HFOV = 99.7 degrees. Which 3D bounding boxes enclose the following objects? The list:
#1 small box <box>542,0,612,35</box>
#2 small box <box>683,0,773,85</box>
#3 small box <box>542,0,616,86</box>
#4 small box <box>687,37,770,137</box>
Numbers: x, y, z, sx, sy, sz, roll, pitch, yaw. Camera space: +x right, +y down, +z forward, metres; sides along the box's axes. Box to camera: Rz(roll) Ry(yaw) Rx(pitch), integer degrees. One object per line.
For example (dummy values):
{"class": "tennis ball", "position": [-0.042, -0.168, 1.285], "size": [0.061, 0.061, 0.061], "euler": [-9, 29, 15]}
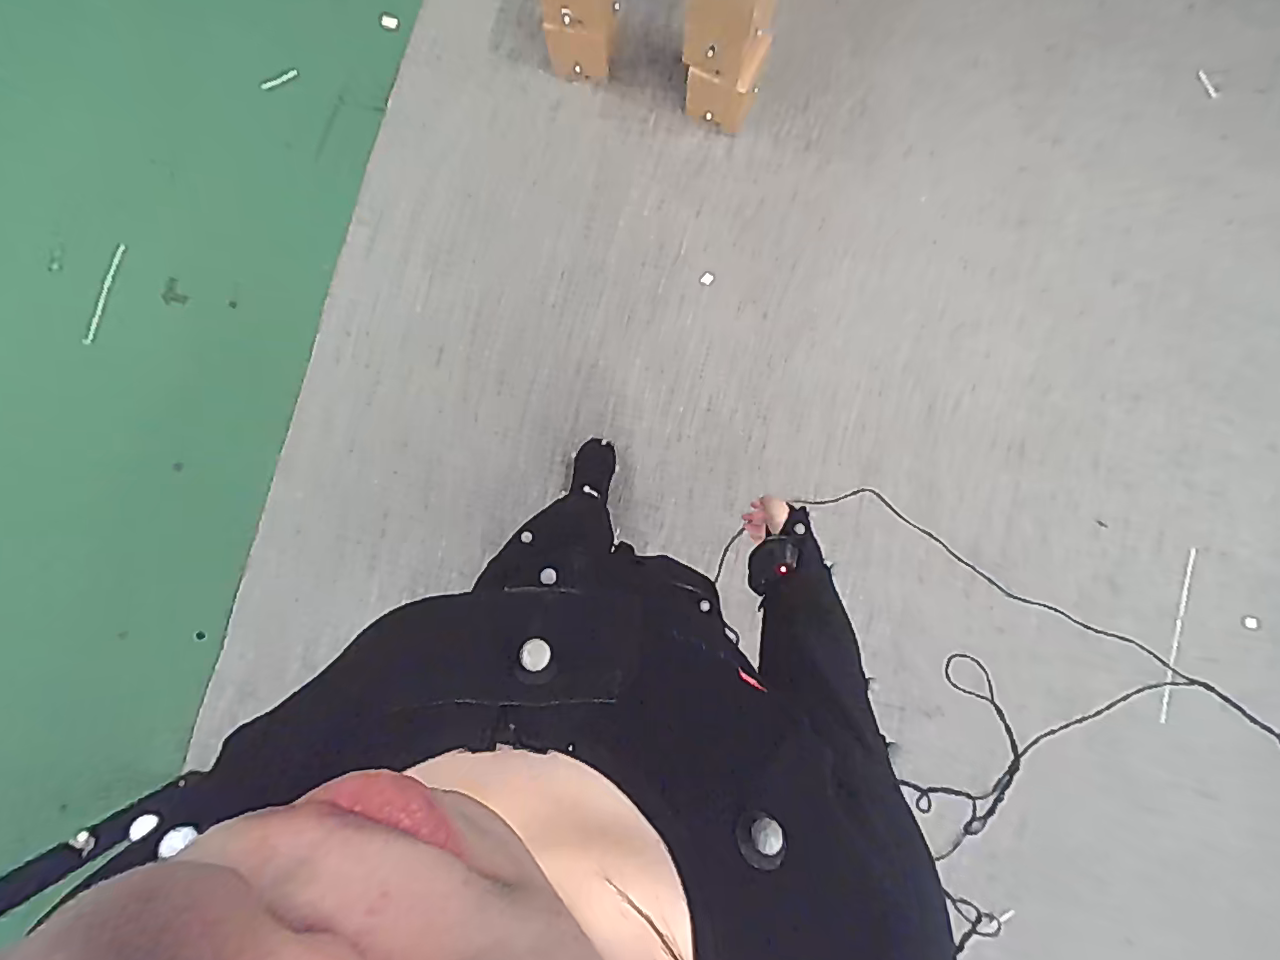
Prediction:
{"class": "small box", "position": [-0.159, -1.278, 1.352], "size": [0.168, 0.176, 0.179], "euler": [11, 86, 3]}
{"class": "small box", "position": [0.218, -1.135, 1.334], "size": [0.168, 0.176, 0.179], "euler": [29, 88, 3]}
{"class": "small box", "position": [-0.163, -1.262, 1.514], "size": [0.168, 0.176, 0.179], "euler": [11, 86, 2]}
{"class": "small box", "position": [0.235, -1.106, 1.495], "size": [0.168, 0.176, 0.179], "euler": [25, 87, 3]}
